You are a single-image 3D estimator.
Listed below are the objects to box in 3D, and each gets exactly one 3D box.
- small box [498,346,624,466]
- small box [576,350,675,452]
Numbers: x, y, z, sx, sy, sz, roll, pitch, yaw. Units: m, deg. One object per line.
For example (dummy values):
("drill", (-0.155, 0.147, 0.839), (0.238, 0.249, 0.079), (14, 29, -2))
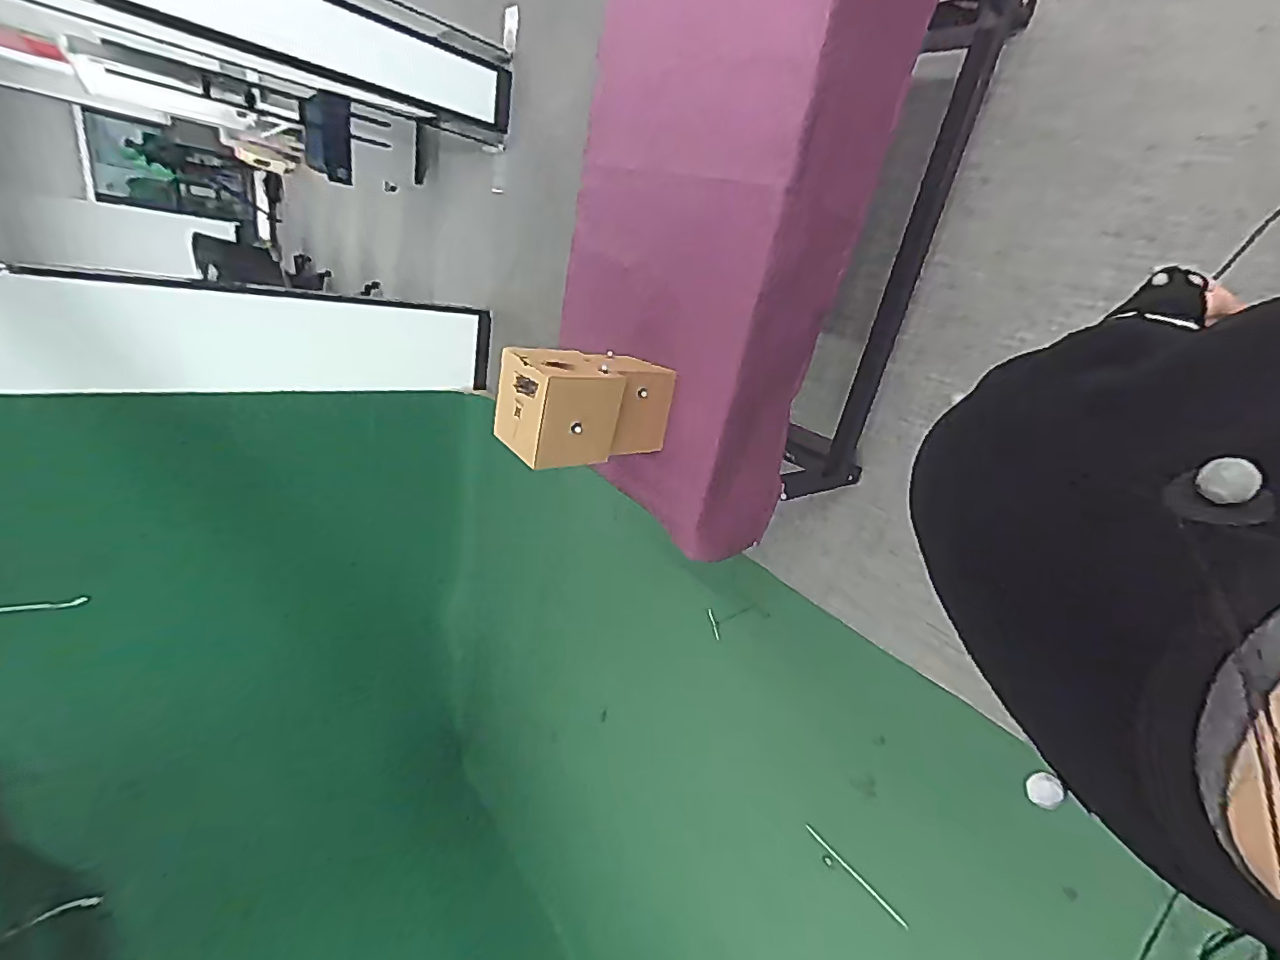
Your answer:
("small box", (-0.150, -0.146, 1.037), (0.168, 0.176, 0.179), (37, 124, 40))
("small box", (-0.046, -0.172, 1.164), (0.168, 0.176, 0.179), (31, 119, 42))
